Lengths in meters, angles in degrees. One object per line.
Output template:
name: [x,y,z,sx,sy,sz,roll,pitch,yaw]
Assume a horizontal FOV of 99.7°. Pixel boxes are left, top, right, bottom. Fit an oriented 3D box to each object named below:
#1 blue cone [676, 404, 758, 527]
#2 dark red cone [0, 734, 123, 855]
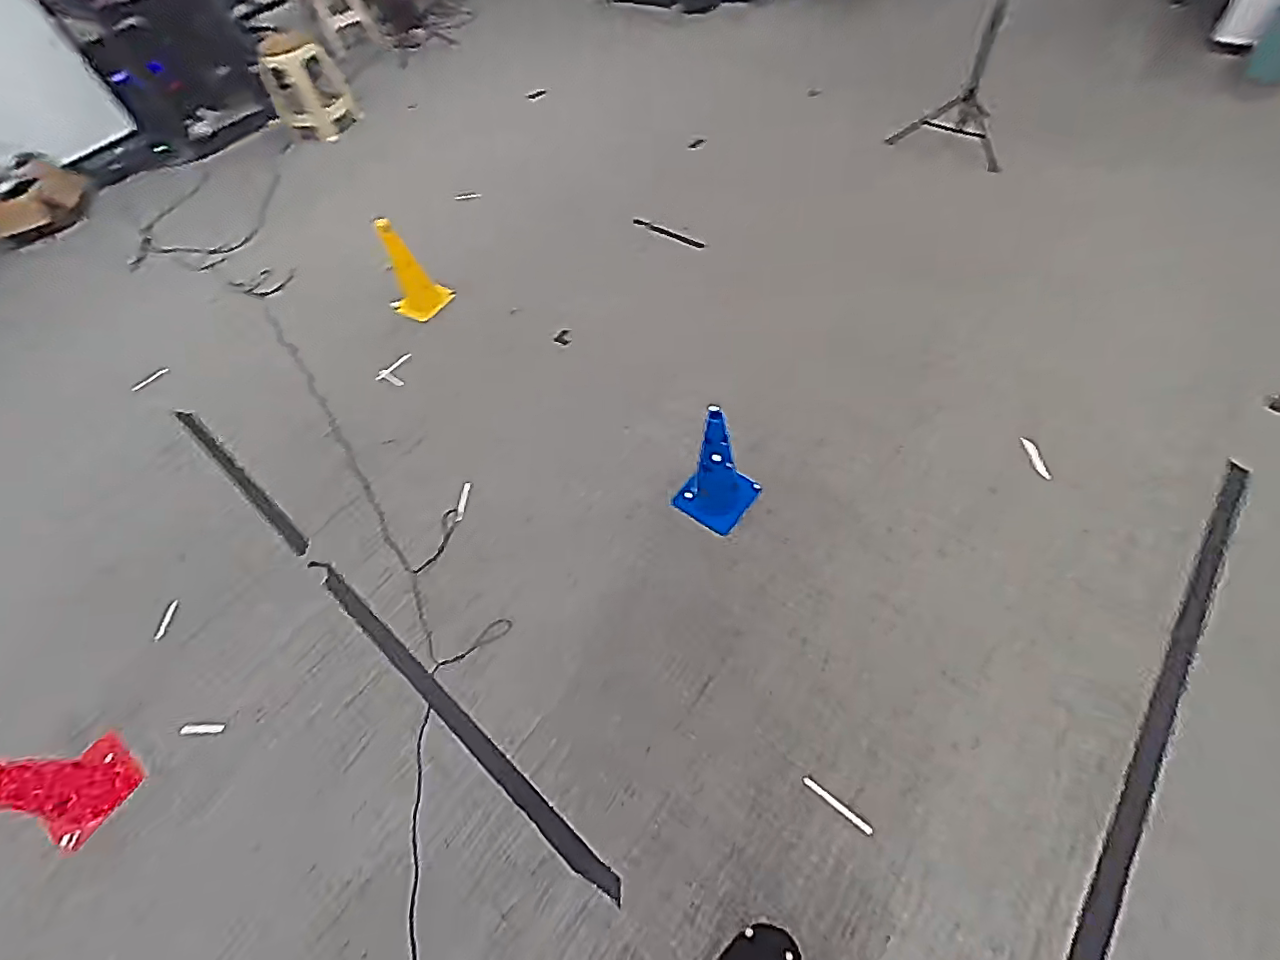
blue cone: [0.202,-0.055,1.436,0.193,0.380,0.192,32,65,27]
dark red cone: [-1.386,0.654,1.166,0.202,0.394,0.201,24,62,23]
